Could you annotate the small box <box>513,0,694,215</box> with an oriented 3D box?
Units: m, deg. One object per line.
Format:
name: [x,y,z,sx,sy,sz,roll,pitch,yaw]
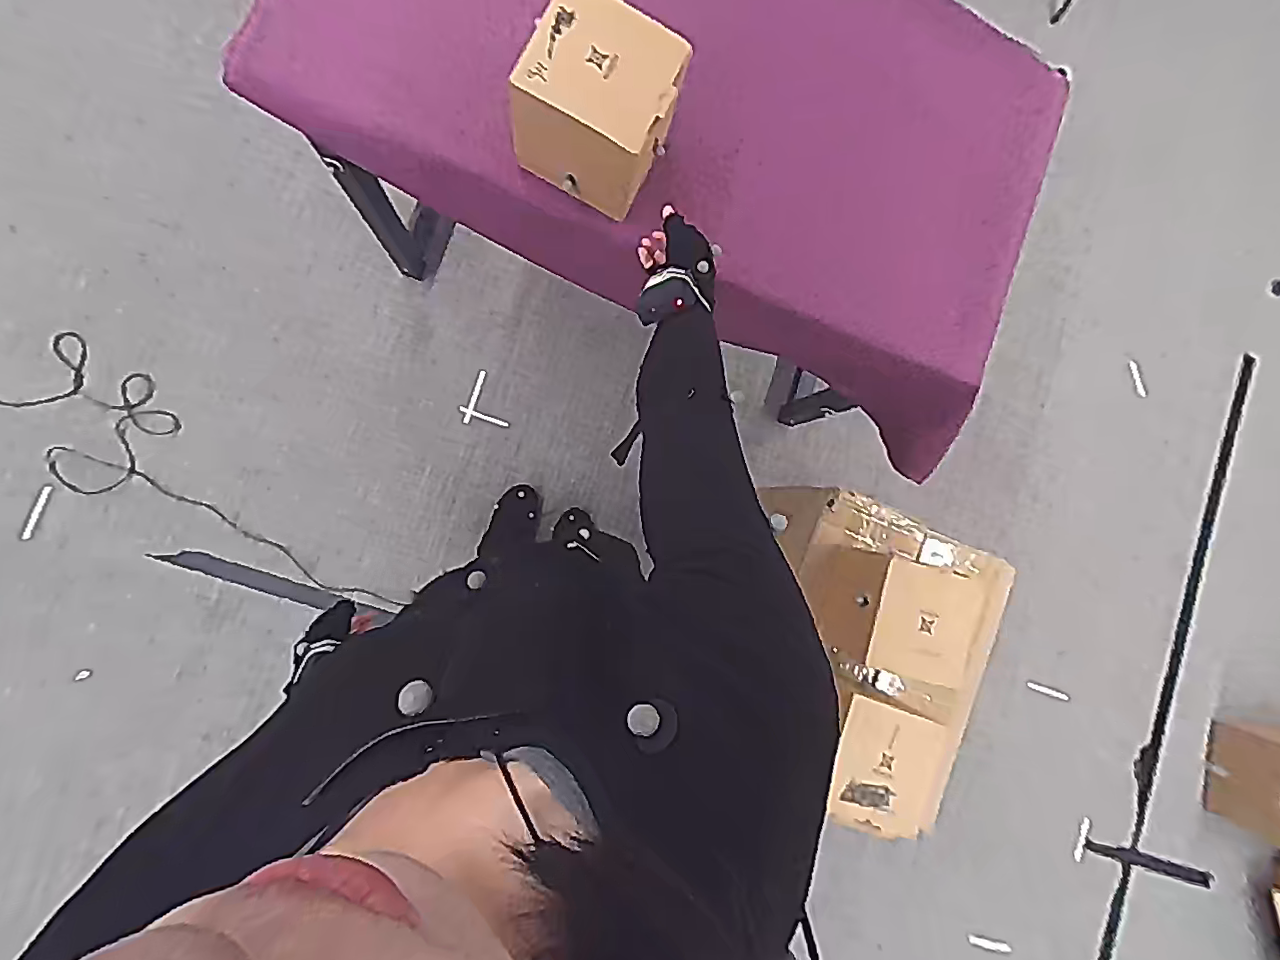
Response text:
small box: [-0.055,-0.501,0.741,0.179,0.176,0.168,27,83,-8]

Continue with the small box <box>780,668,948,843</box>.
small box: [0.348,0.430,0.873,0.168,0.176,0.179,21,83,-7]

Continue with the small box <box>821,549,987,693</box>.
small box: [0.424,0.220,0.895,0.168,0.176,0.179,16,87,-6]
